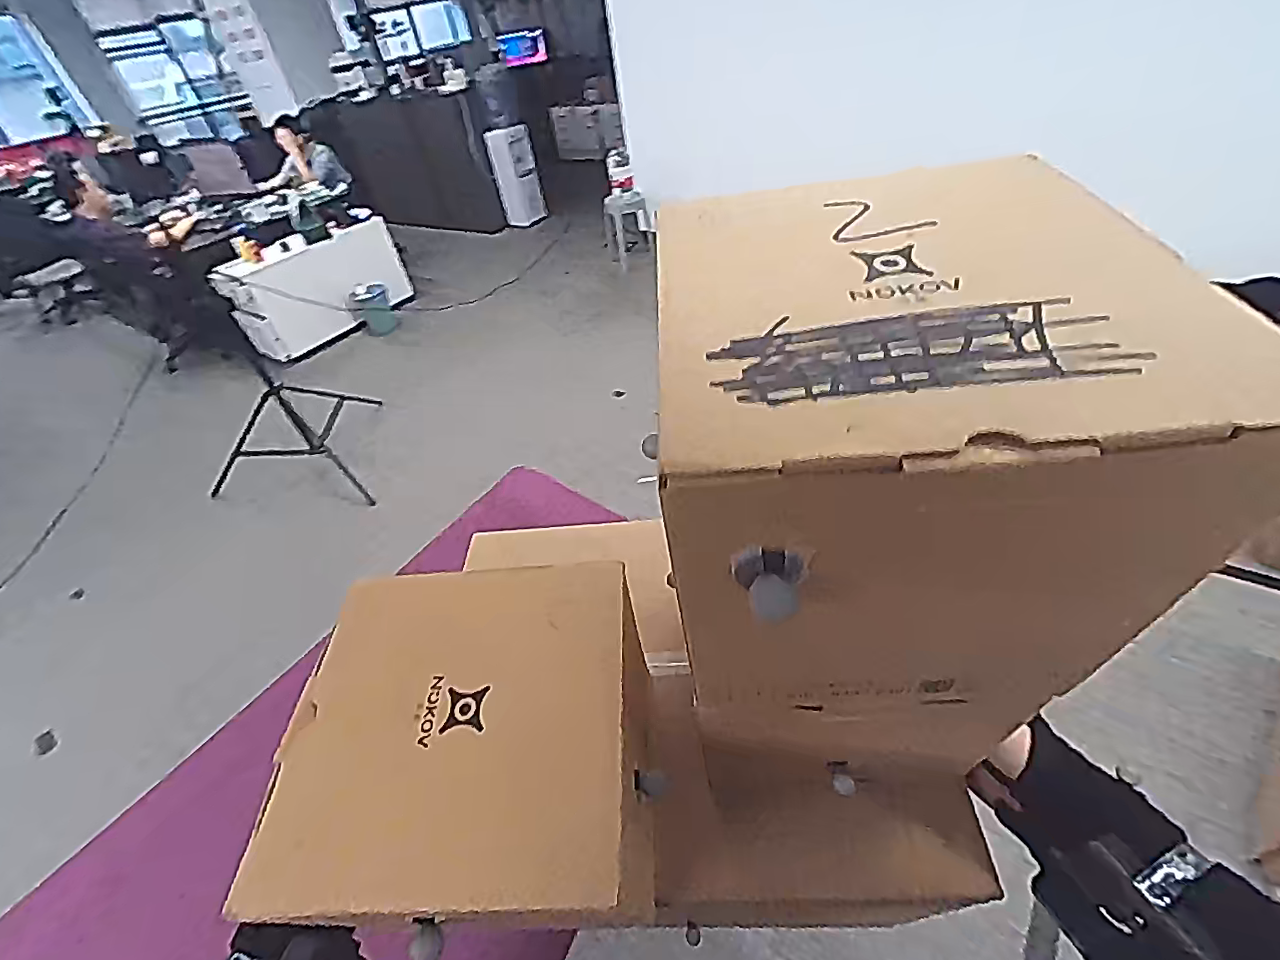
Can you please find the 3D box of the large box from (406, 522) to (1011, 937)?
[{"bbox_3d":[0.055,0.258,0.558,0.408,0.320,0.320,-6,46,6],"label":"large box"}]
